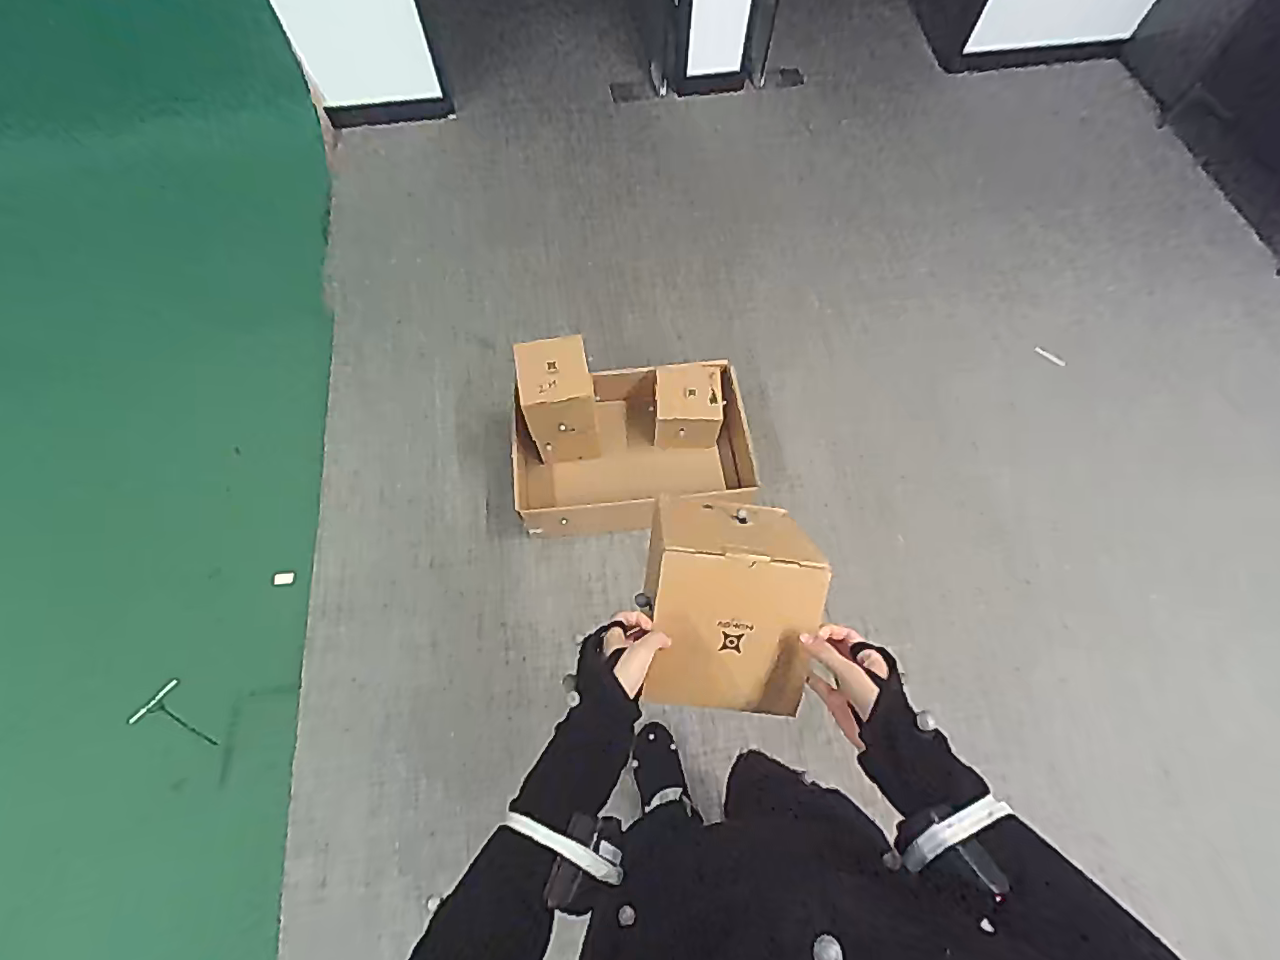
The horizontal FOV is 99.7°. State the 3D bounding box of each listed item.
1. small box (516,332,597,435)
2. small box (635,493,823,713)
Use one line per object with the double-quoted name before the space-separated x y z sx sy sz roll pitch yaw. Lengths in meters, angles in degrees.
"small box" -0.201 -0.233 1.326 0.168 0.176 0.179 -9 68 -3
"small box" 0.088 0.130 0.618 0.168 0.176 0.179 7 105 -1
